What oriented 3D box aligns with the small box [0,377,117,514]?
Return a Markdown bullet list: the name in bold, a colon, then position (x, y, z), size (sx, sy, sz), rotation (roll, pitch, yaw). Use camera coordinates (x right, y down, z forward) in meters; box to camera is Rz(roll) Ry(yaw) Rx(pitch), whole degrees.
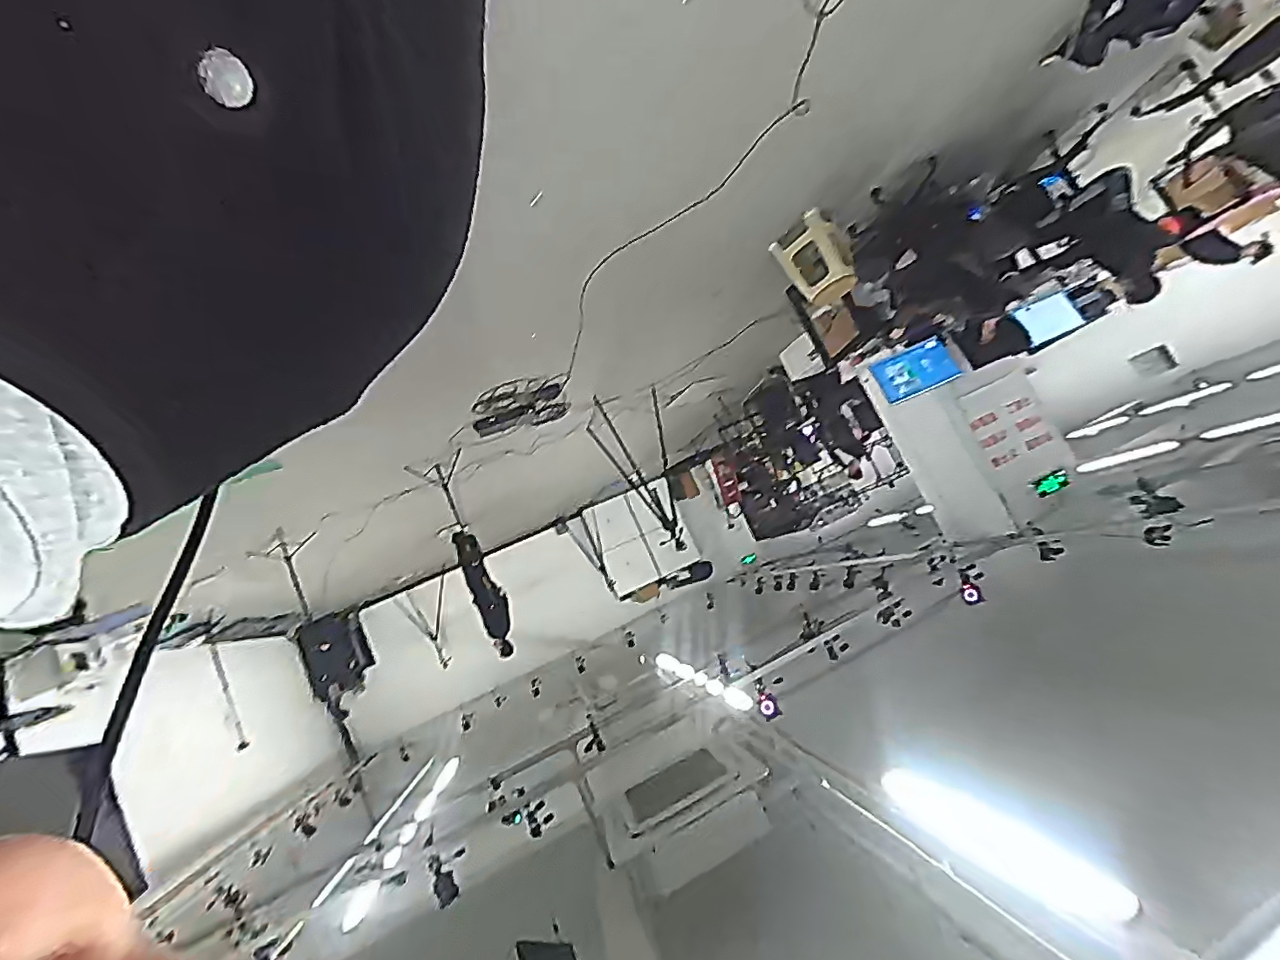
- **small box**: position (-1.112, -0.059, 0.961), size (0.179, 0.176, 0.168), rotation (-25, 171, -8)
